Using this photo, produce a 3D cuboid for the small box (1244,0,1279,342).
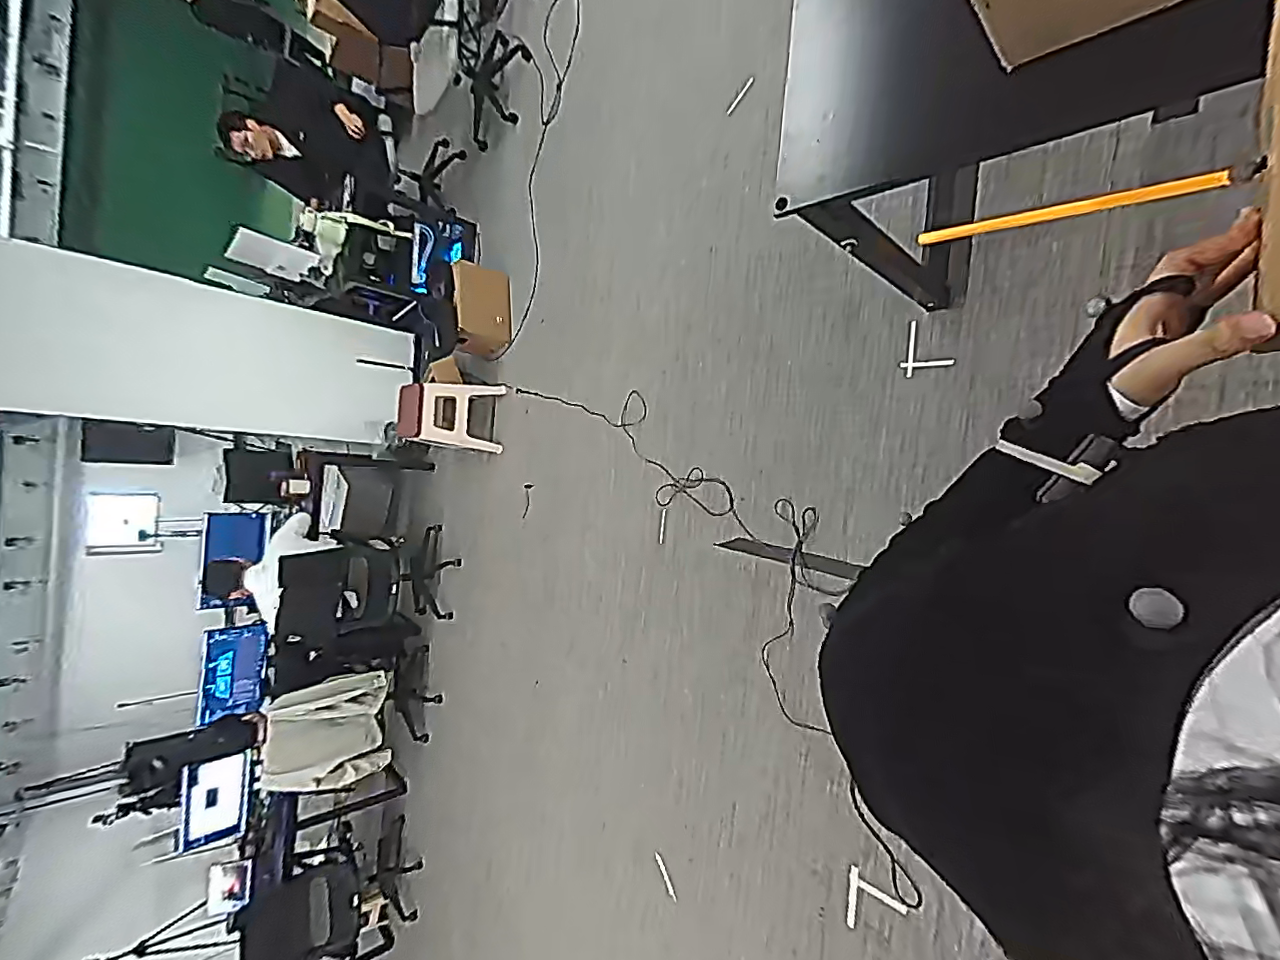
[{"bbox_3d":[0.444,-0.179,0.281,0.168,0.176,0.179,3,96,48],"label":"small box"}]
